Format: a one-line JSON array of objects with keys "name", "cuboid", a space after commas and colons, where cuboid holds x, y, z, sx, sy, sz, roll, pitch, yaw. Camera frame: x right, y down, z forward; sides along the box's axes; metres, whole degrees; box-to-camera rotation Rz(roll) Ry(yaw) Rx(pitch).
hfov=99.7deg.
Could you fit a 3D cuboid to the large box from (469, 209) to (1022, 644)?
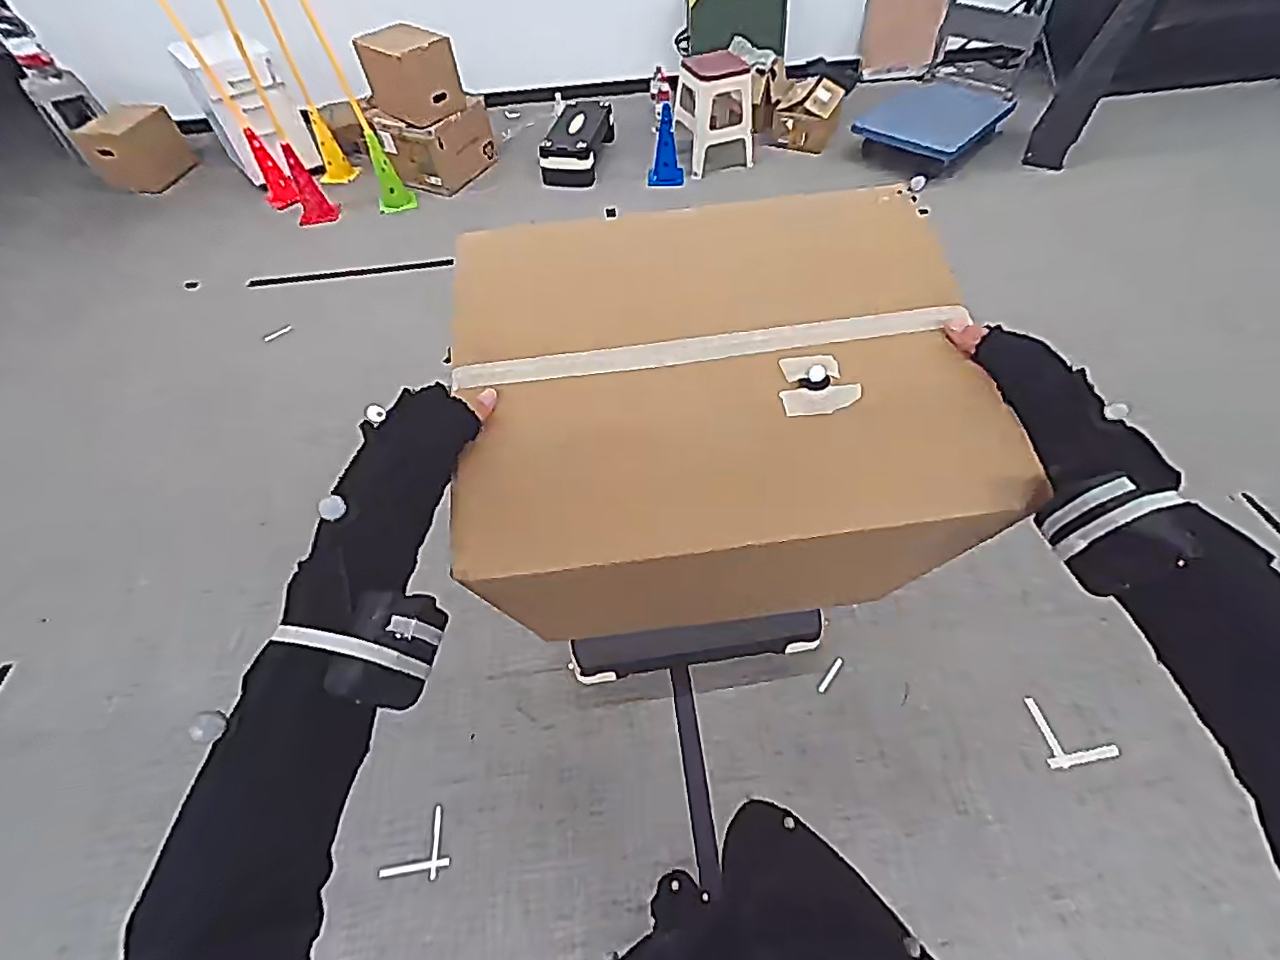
[{"name": "large box", "cuboid": [0.062, -0.030, 0.575, 0.408, 0.320, 0.320, -7, 66, -2]}]
